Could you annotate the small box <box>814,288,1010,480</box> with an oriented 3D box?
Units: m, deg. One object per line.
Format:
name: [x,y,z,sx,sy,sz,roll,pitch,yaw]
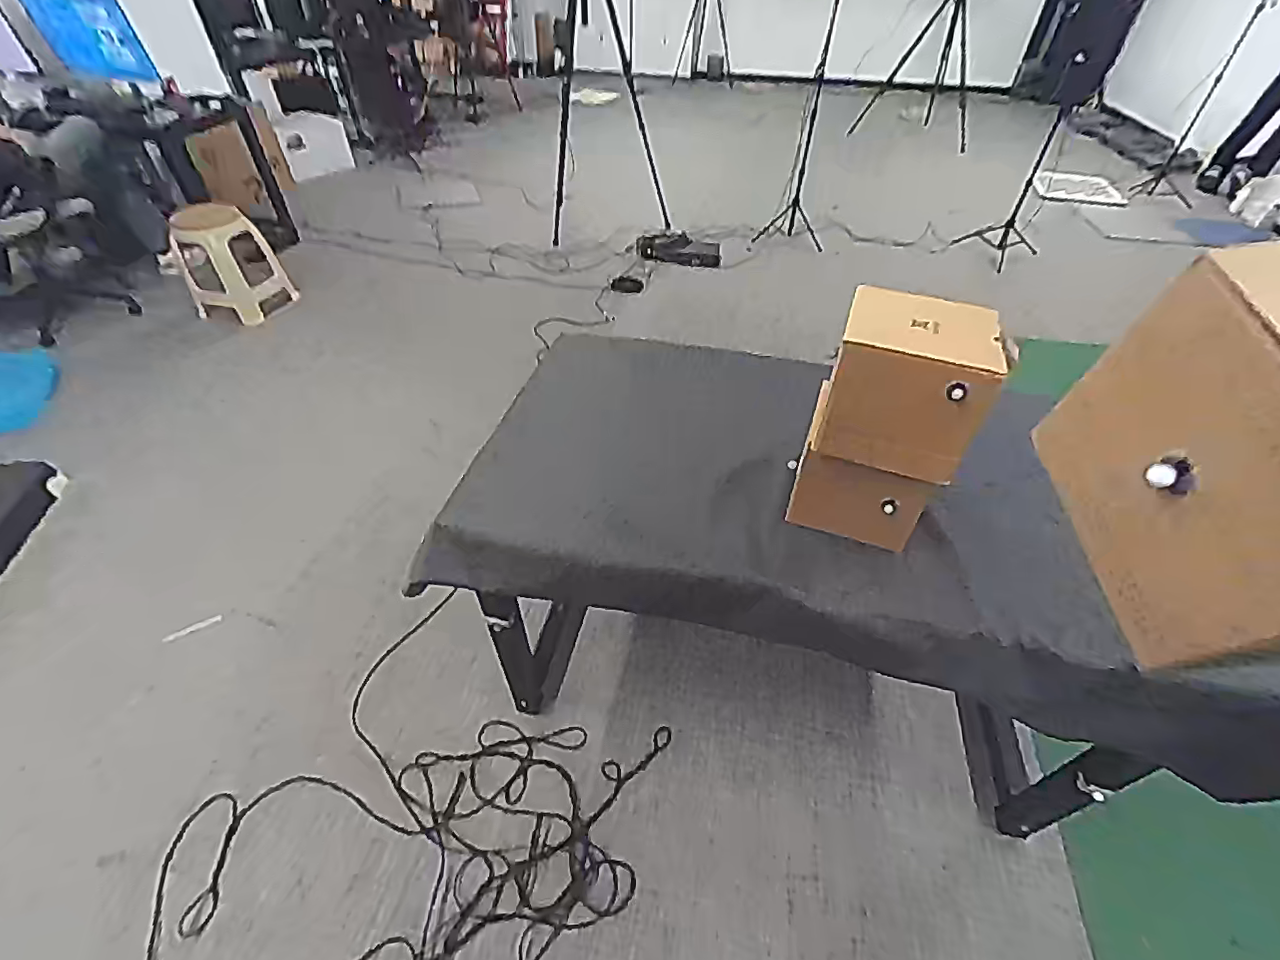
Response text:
small box: [0.340,-0.124,0.701,0.179,0.176,0.168,17,45,15]

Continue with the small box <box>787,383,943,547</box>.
small box: [0.341,-0.021,0.829,0.179,0.176,0.168,15,45,15]
